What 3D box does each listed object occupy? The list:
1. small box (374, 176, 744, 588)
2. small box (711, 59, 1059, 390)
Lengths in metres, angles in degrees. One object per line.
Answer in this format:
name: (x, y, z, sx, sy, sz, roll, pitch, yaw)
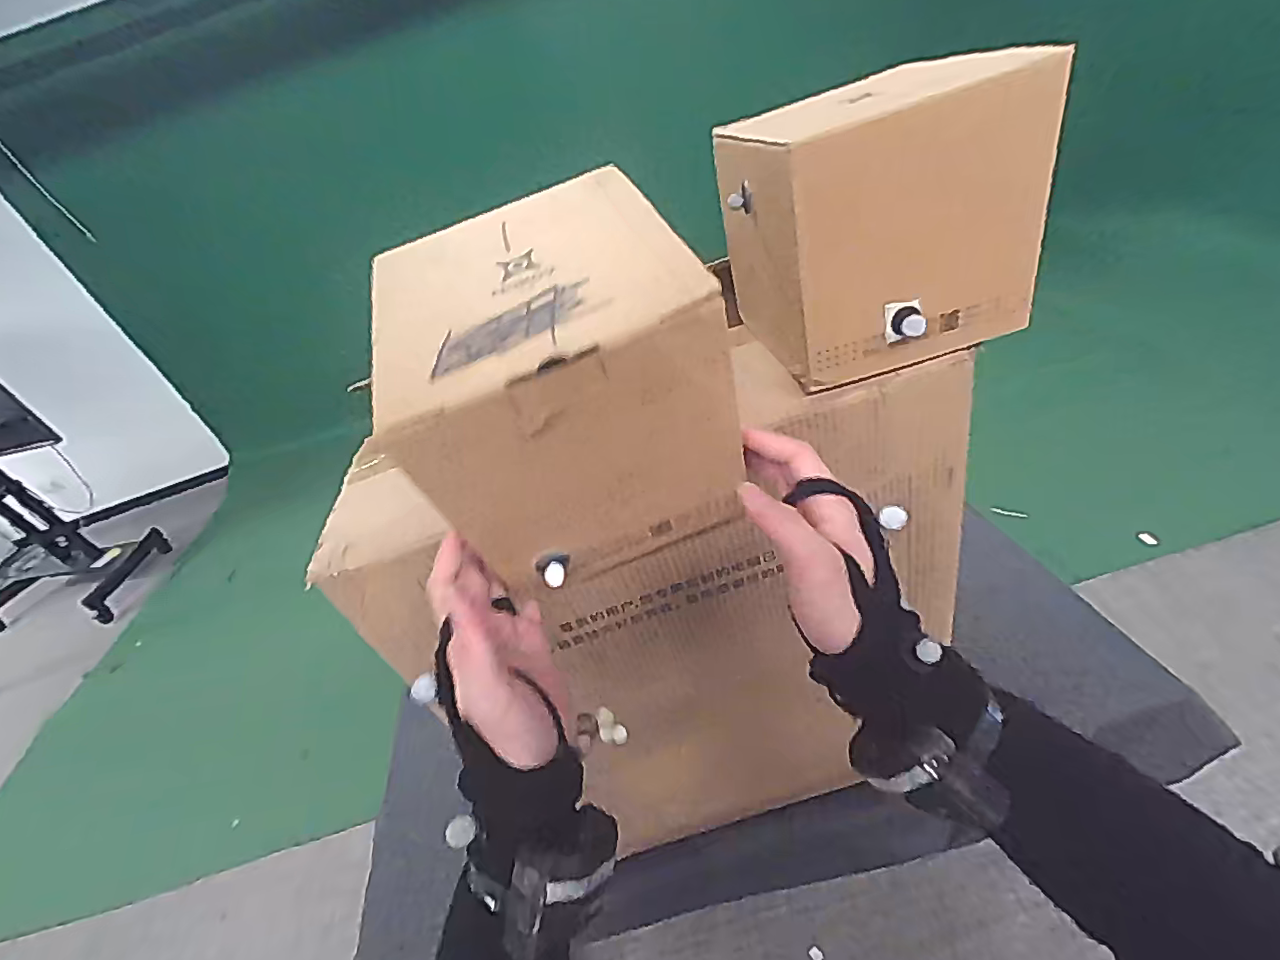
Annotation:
small box: (-0.044, -0.052, 0.347, 0.168, 0.176, 0.179, -23, 50, -3)
small box: (0.168, -0.194, 0.422, 0.168, 0.176, 0.179, -19, 36, 1)
